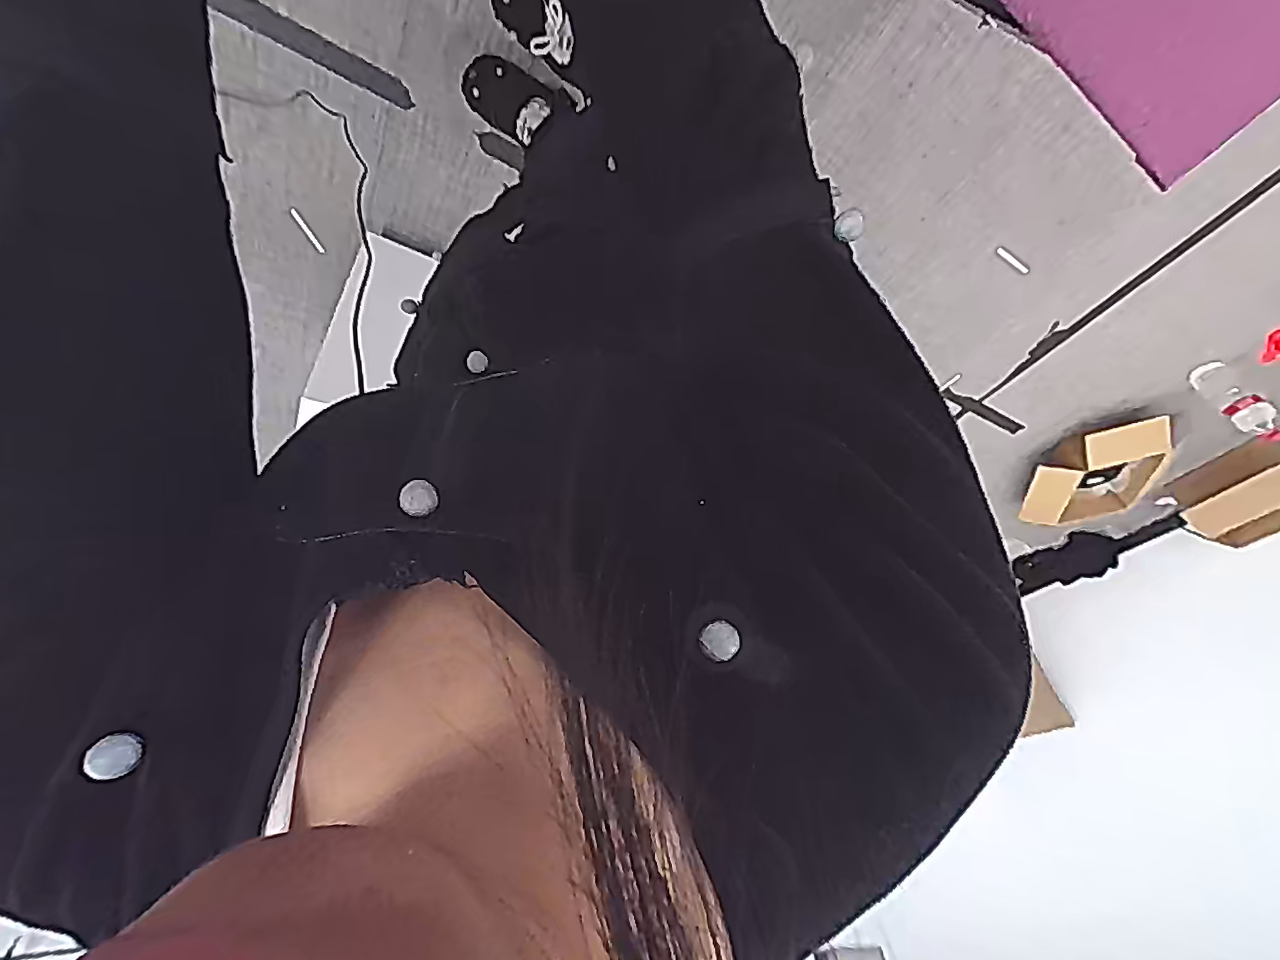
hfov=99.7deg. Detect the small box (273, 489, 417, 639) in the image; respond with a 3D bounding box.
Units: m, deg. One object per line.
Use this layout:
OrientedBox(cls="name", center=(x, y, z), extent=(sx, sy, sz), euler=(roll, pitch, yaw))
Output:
OrientedBox(cls="small box", center=(-0.483, 0.143, 0.898), extent=(0.168, 0.176, 0.179), euler=(17, 136, -30))
